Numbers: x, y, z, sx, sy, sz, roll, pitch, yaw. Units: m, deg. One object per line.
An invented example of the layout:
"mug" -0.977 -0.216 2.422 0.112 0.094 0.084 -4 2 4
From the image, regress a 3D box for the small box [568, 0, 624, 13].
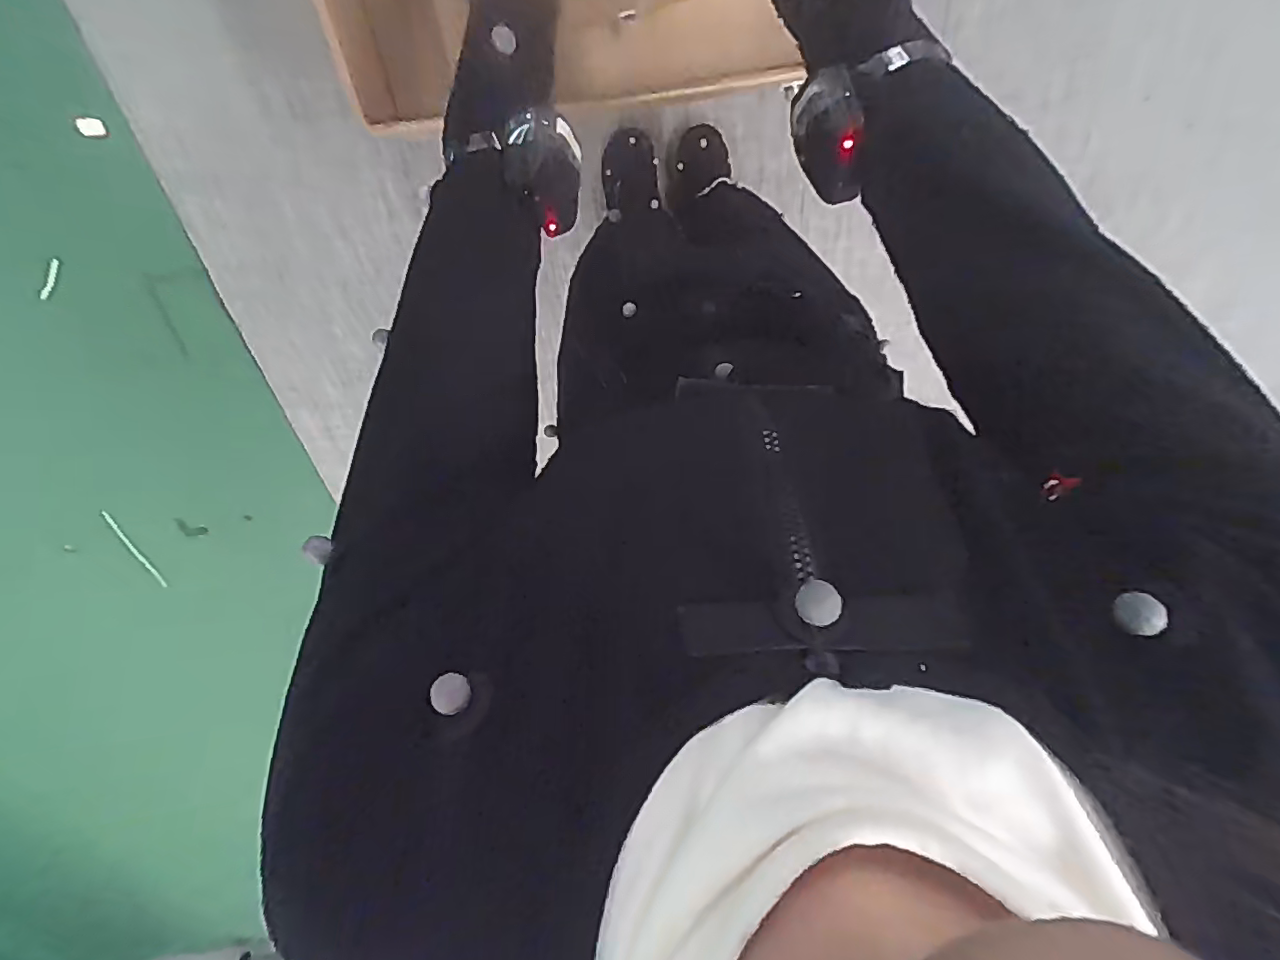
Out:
"small box" -0.014 -0.523 0.442 0.168 0.176 0.179 -11 125 7
